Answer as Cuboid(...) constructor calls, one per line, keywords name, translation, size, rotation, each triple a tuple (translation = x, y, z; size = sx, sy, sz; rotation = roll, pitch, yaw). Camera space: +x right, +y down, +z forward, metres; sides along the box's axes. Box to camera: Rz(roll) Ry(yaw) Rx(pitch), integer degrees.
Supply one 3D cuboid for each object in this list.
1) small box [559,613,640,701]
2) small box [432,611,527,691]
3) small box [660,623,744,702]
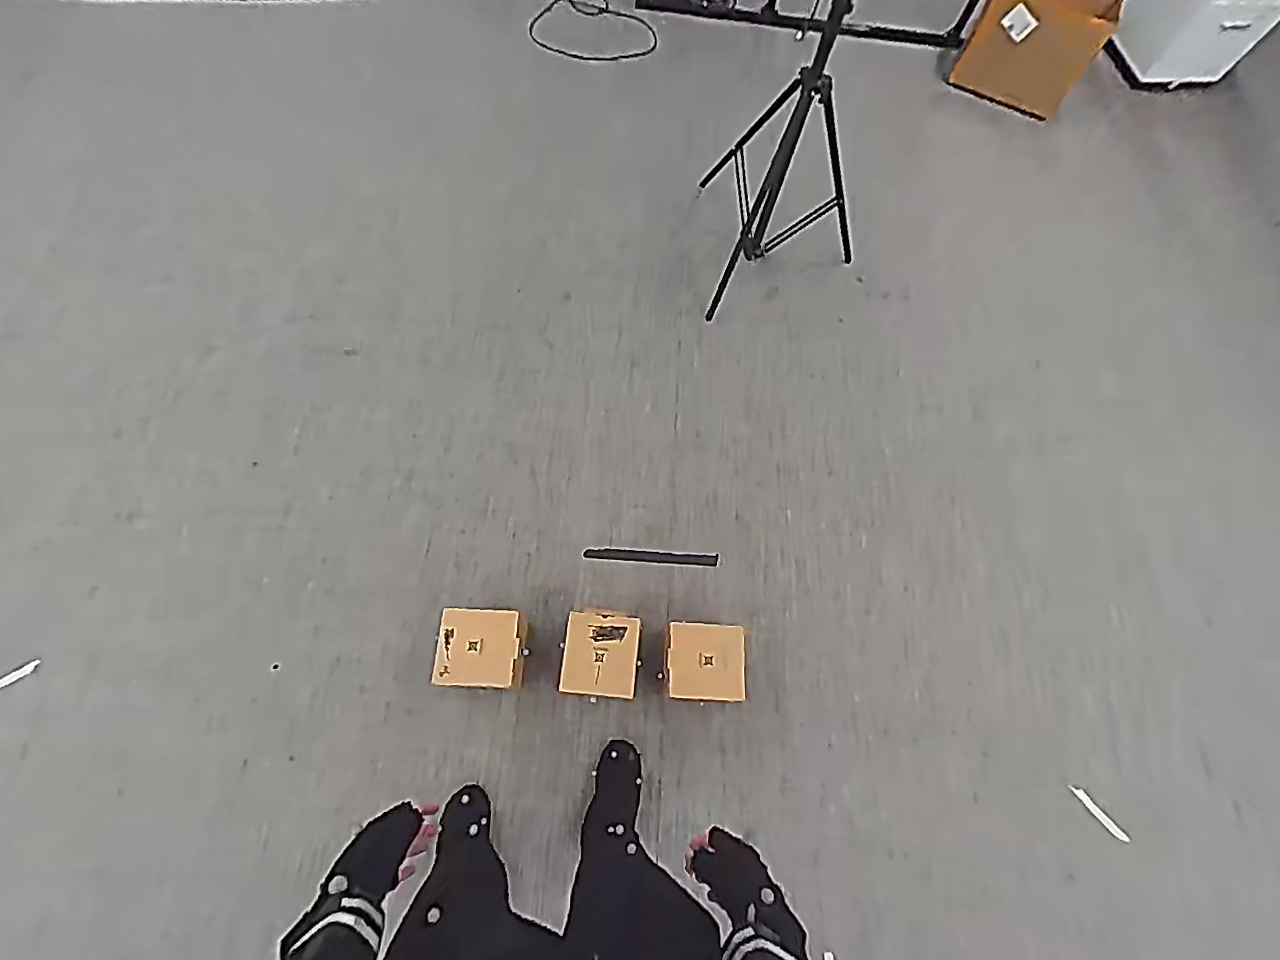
Cuboid(name="small box", translation=(-0.095, 0.424, 1.288), size=(0.168, 0.176, 0.179), rotation=(7, 69, -1))
Cuboid(name="small box", translation=(-0.368, 0.406, 1.276), size=(0.179, 0.176, 0.168), rotation=(4, 68, -4))
Cuboid(name="small box", translation=(0.143, 0.442, 1.301), size=(0.179, 0.176, 0.168), rotation=(4, 70, -4))
